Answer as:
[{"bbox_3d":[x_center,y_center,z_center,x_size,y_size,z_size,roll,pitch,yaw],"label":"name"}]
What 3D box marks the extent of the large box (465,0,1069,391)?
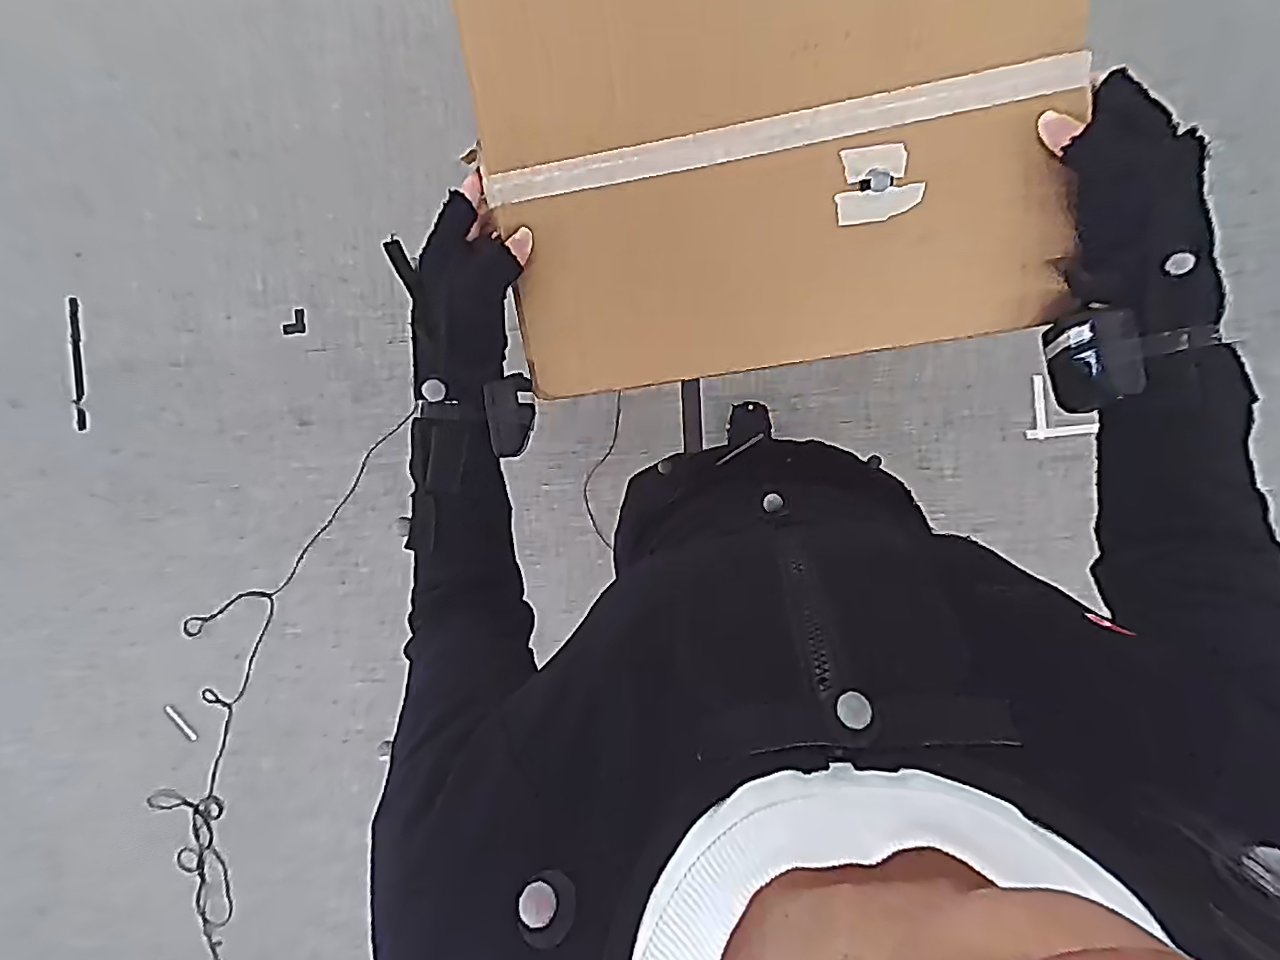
[{"bbox_3d":[0.102,-0.285,0.532,0.408,0.320,0.320,-8,105,6],"label":"large box"}]
